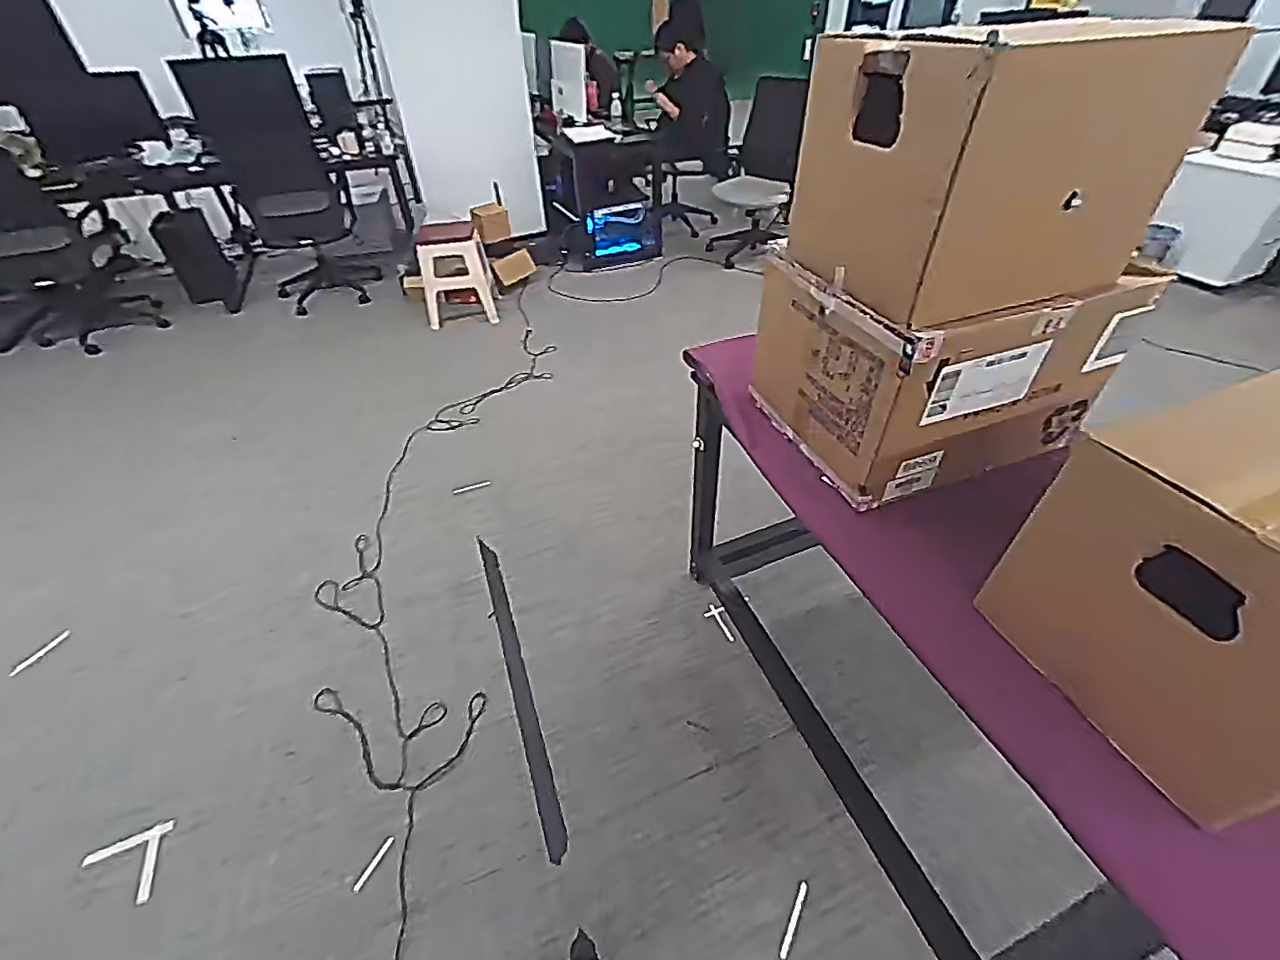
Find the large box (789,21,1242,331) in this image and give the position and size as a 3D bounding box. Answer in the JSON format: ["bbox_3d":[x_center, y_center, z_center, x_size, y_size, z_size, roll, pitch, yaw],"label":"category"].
[{"bbox_3d":[0.489,-0.457,0.794,0.408,0.320,0.320,-17,42,-15],"label":"large box"}]
